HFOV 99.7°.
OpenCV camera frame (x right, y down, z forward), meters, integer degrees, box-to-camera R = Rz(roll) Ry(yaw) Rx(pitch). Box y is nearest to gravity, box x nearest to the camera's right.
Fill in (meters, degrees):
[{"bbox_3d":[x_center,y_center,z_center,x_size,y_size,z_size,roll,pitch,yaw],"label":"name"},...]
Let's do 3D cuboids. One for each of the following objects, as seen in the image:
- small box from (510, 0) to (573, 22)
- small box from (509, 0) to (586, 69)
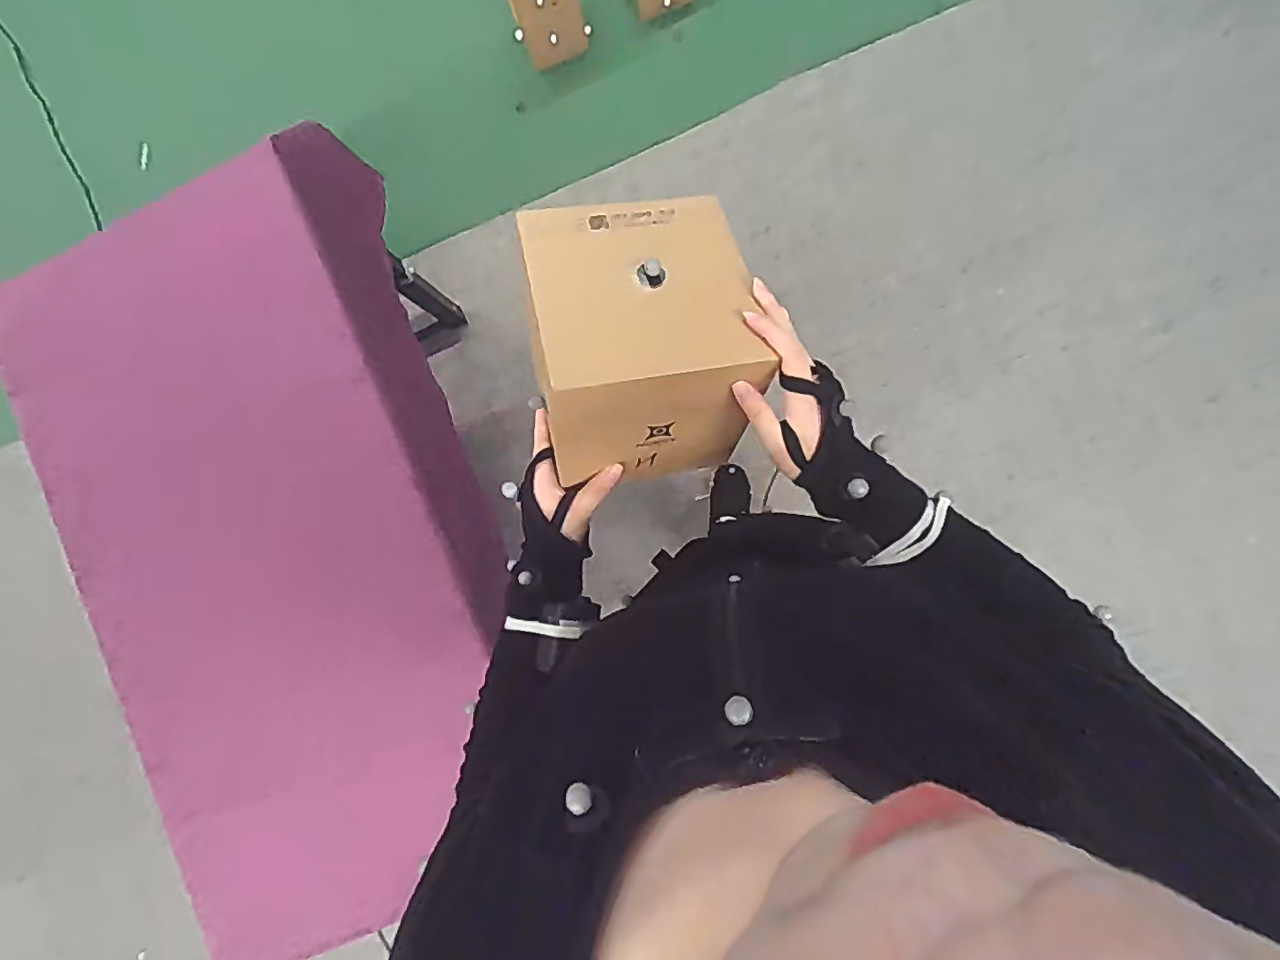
[{"bbox_3d":[-0.280,-1.323,1.358,0.168,0.176,0.179,-20,86,6],"label":"small box"},{"bbox_3d":[-0.262,-1.320,1.520,0.179,0.176,0.168,-20,86,7],"label":"small box"}]
